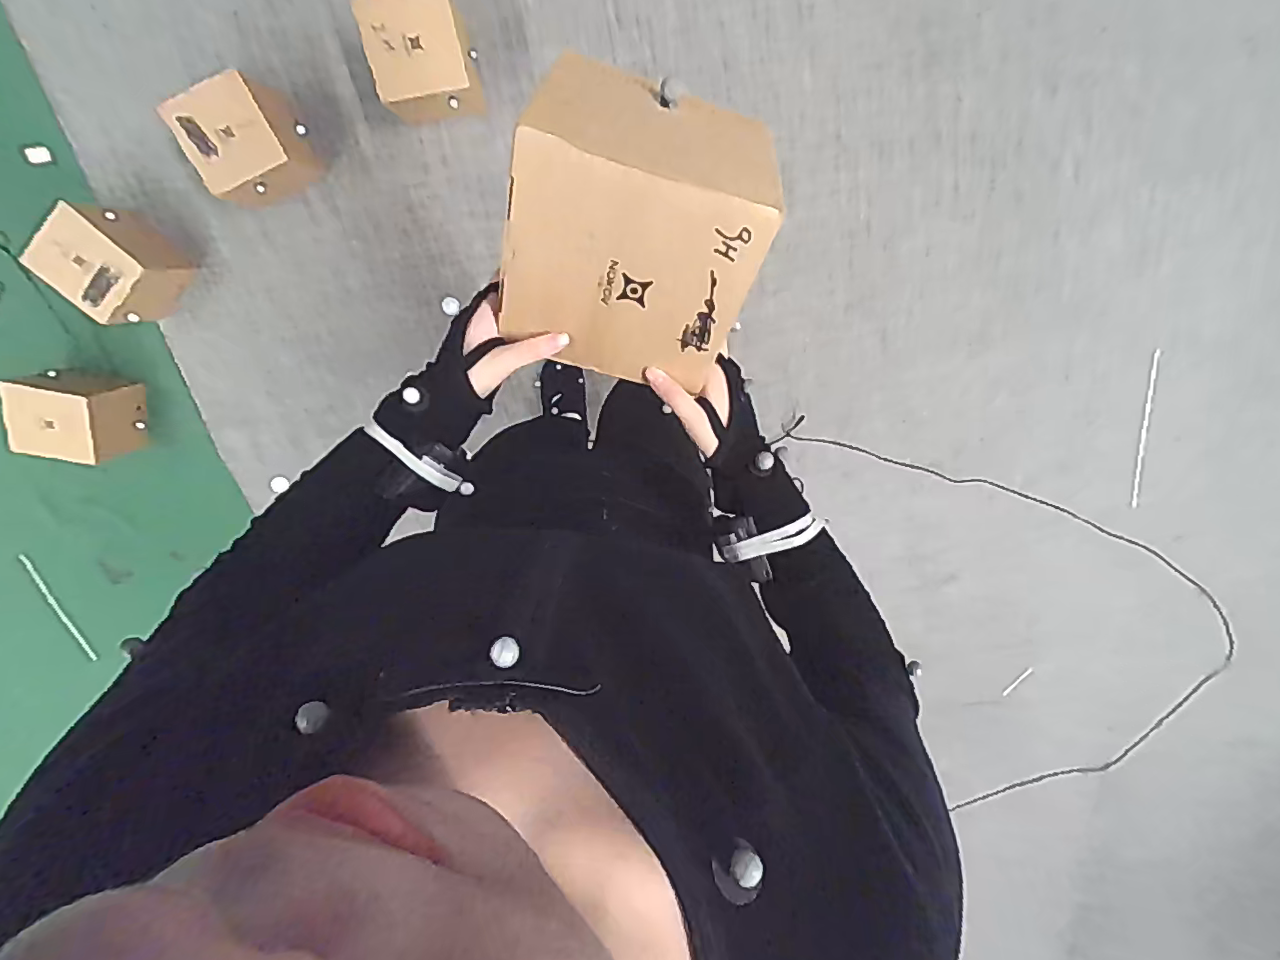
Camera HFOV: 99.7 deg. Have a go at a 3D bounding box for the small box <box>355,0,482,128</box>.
[{"bbox_3d":[-0.426,-0.829,1.079,0.179,0.176,0.168,-10,111,0],"label":"small box"}]

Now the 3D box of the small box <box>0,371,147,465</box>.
[{"bbox_3d":[-1.324,-0.152,1.273,0.179,0.176,0.168,12,110,-9],"label":"small box"}]

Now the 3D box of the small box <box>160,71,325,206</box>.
[{"bbox_3d":[-0.796,-0.684,1.107,0.179,0.176,0.168,-22,111,4],"label":"small box"}]

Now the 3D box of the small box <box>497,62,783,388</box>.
[{"bbox_3d":[-0.004,-0.210,0.446,0.179,0.176,0.168,15,139,-9],"label":"small box"}]
